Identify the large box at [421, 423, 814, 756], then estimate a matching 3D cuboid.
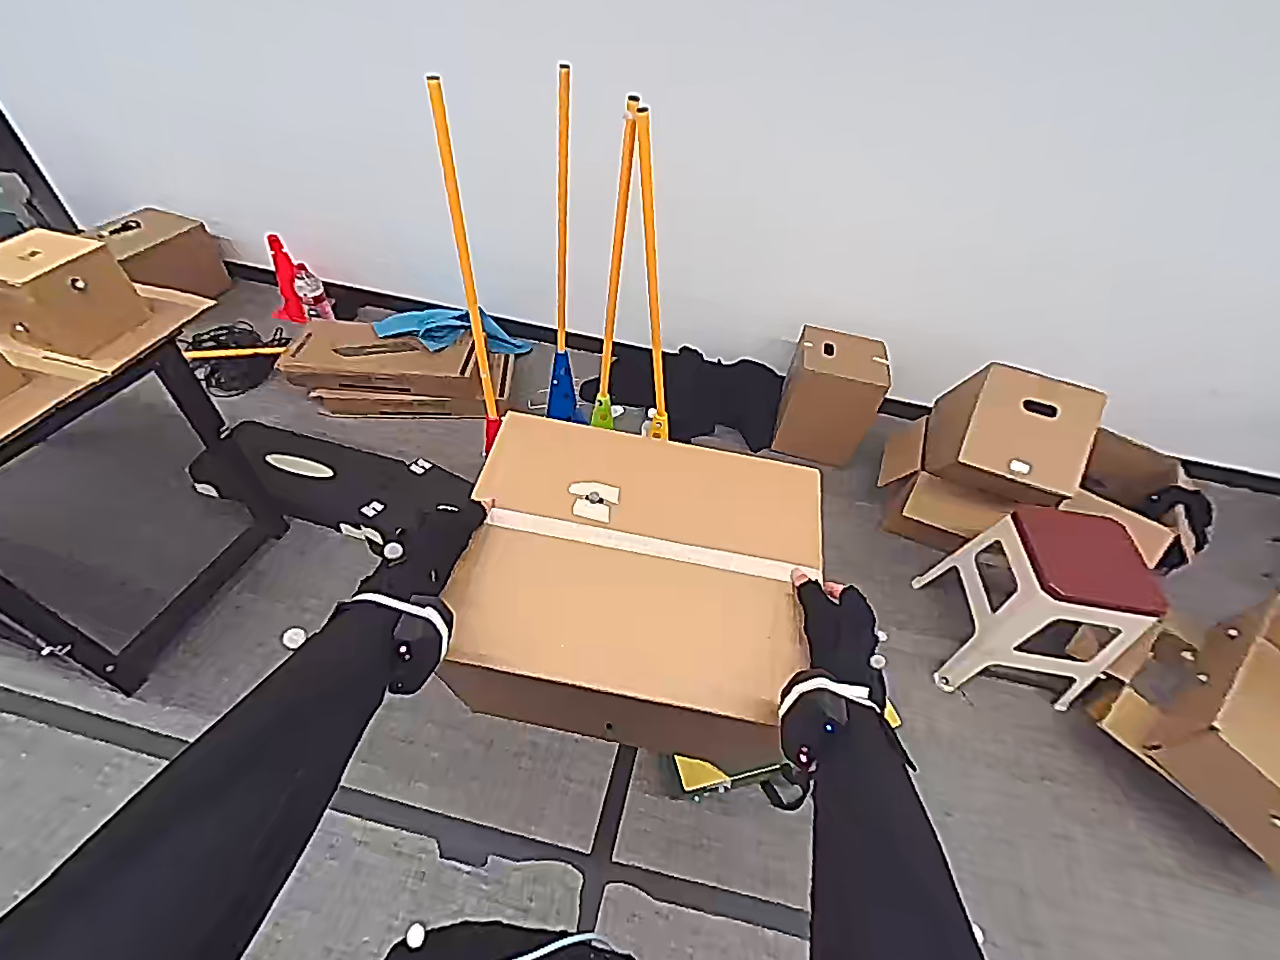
[{"bbox_3d":[-0.010,0.163,0.738,0.408,0.320,0.320,10,56,2],"label":"large box"}]
